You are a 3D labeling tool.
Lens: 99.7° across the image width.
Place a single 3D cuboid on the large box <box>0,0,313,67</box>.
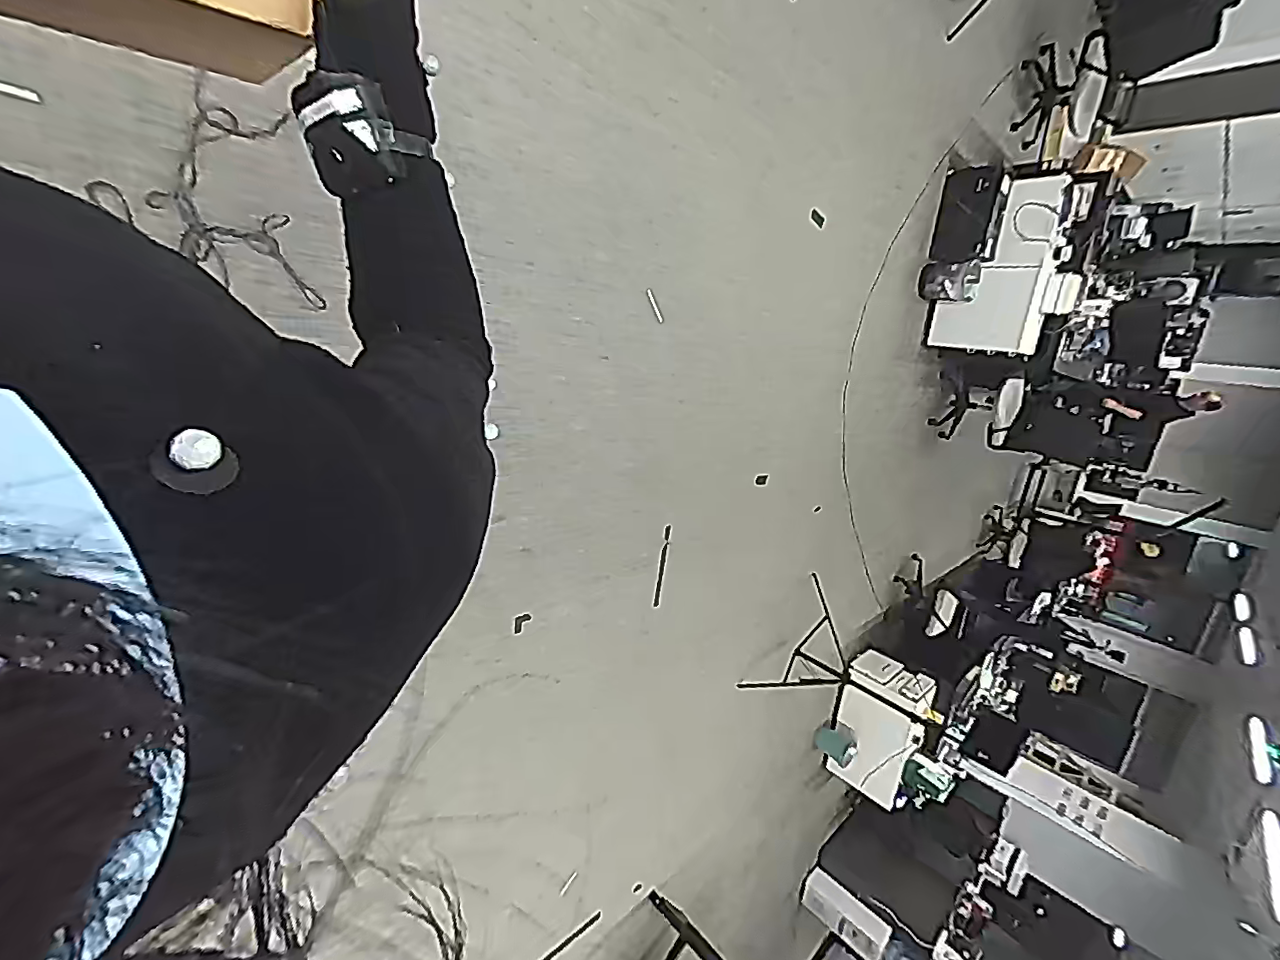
[{"bbox_3d":[-0.447,-0.485,0.299,0.408,0.320,0.320,-9,119,-38],"label":"large box"}]
